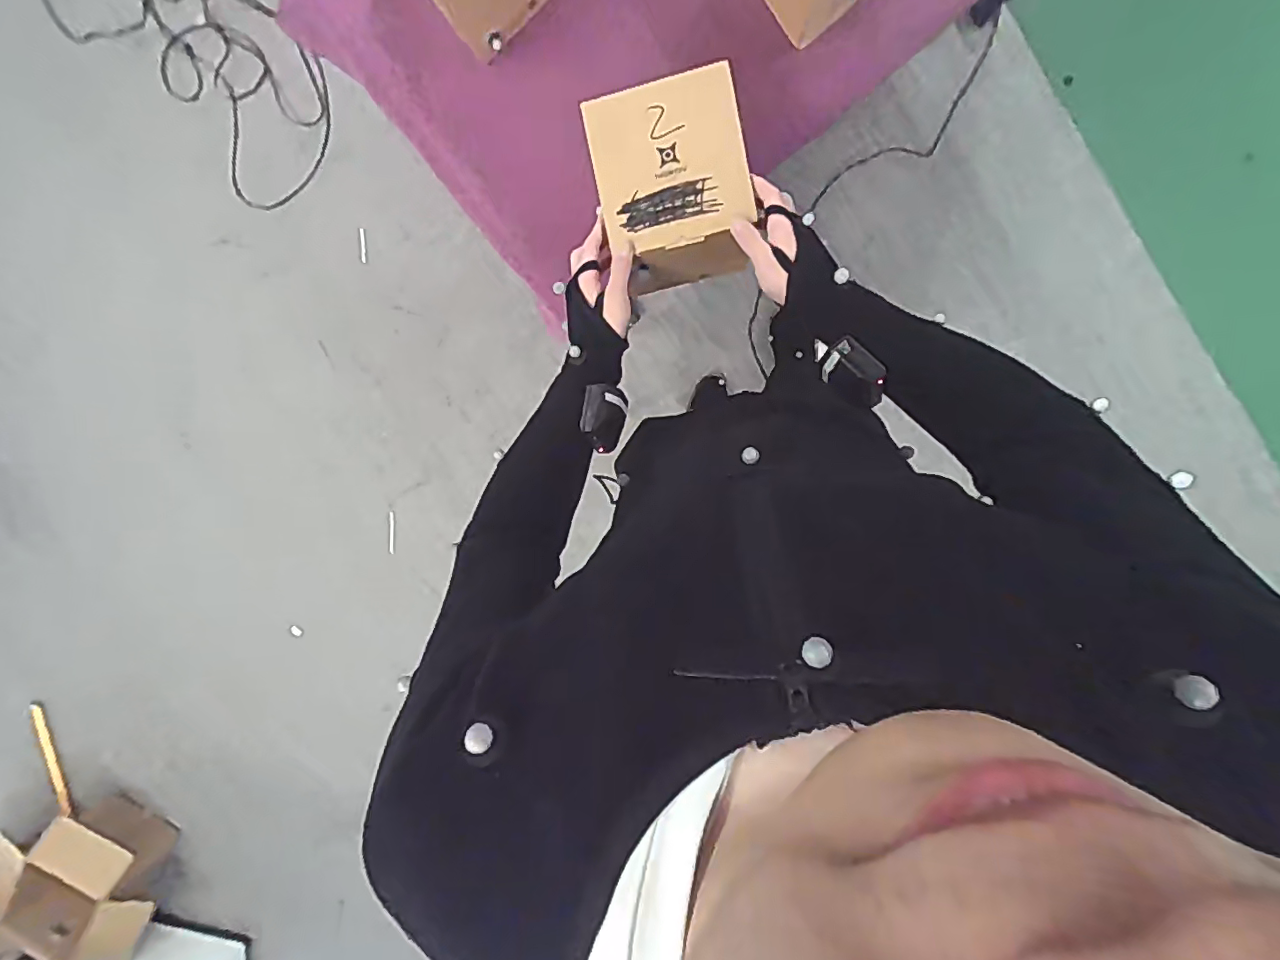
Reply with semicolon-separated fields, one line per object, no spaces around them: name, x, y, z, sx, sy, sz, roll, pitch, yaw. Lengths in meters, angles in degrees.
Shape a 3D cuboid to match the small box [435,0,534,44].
small box;-0.229;-0.711;0.687;0.168;0.176;0.179;-37;96;12
